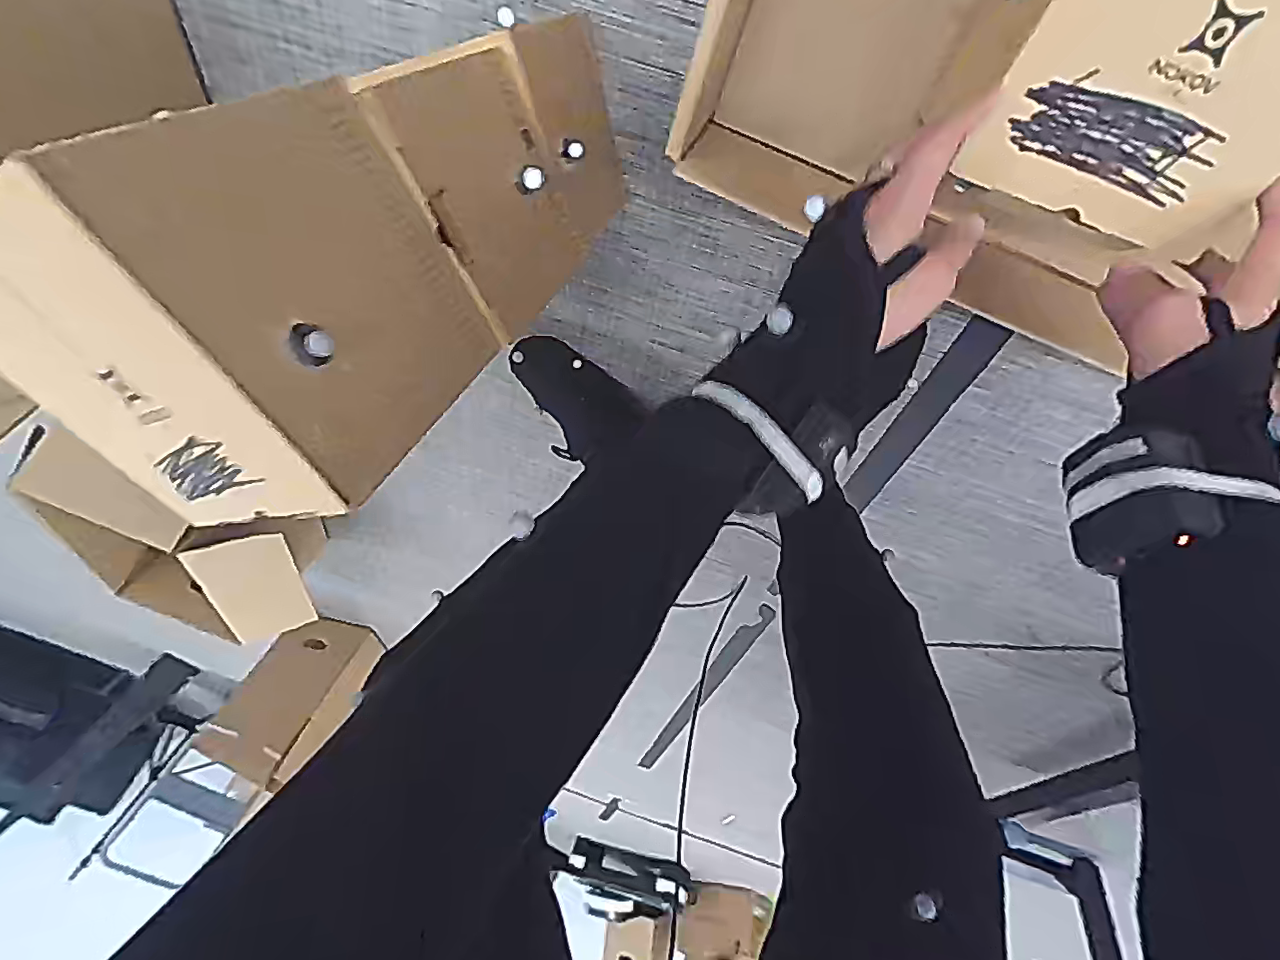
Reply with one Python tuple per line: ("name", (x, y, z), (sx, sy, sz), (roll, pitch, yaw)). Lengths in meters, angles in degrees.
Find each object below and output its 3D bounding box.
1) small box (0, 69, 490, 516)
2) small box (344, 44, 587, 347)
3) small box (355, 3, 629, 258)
("small box", (-0.222, -0.099, 0.318), (0.168, 0.176, 0.179), (-5, 129, 27))
("small box", (-0.170, -0.208, 0.430), (0.179, 0.176, 0.168), (-5, 131, 26))
("small box", (-0.122, -0.331, 0.530), (0.168, 0.176, 0.179), (3, 133, 20))
